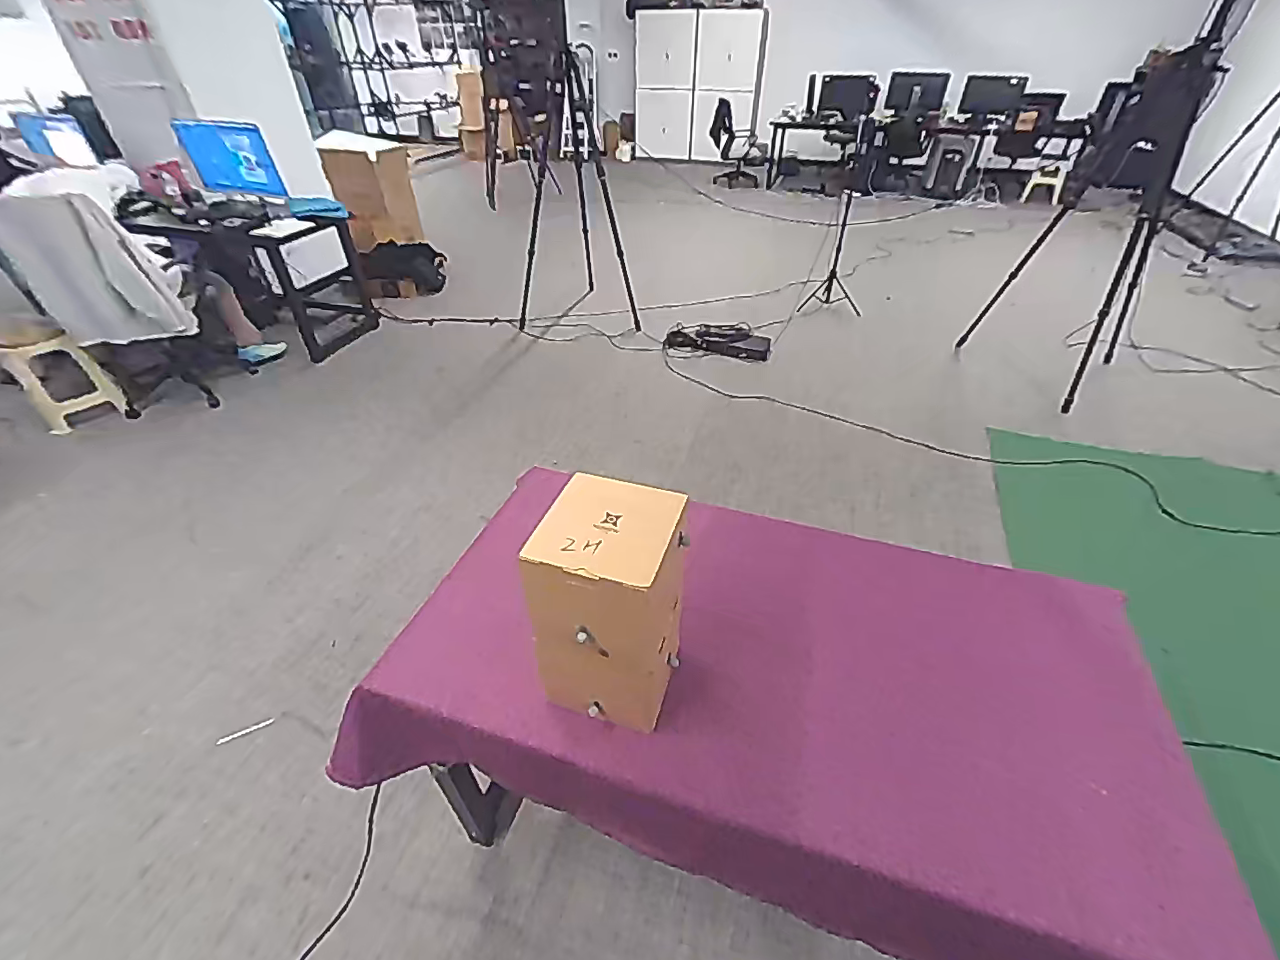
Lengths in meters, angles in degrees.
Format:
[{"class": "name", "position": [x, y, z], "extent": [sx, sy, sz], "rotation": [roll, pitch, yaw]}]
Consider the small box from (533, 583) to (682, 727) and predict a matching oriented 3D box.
[{"class": "small box", "position": [-0.044, 0.252, 0.833], "extent": [0.179, 0.176, 0.168], "rotation": [12, 40, 13]}]

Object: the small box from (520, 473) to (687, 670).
[{"class": "small box", "position": [-0.042, 0.120, 0.732], "extent": [0.168, 0.176, 0.179], "rotation": [12, 41, 15]}]
